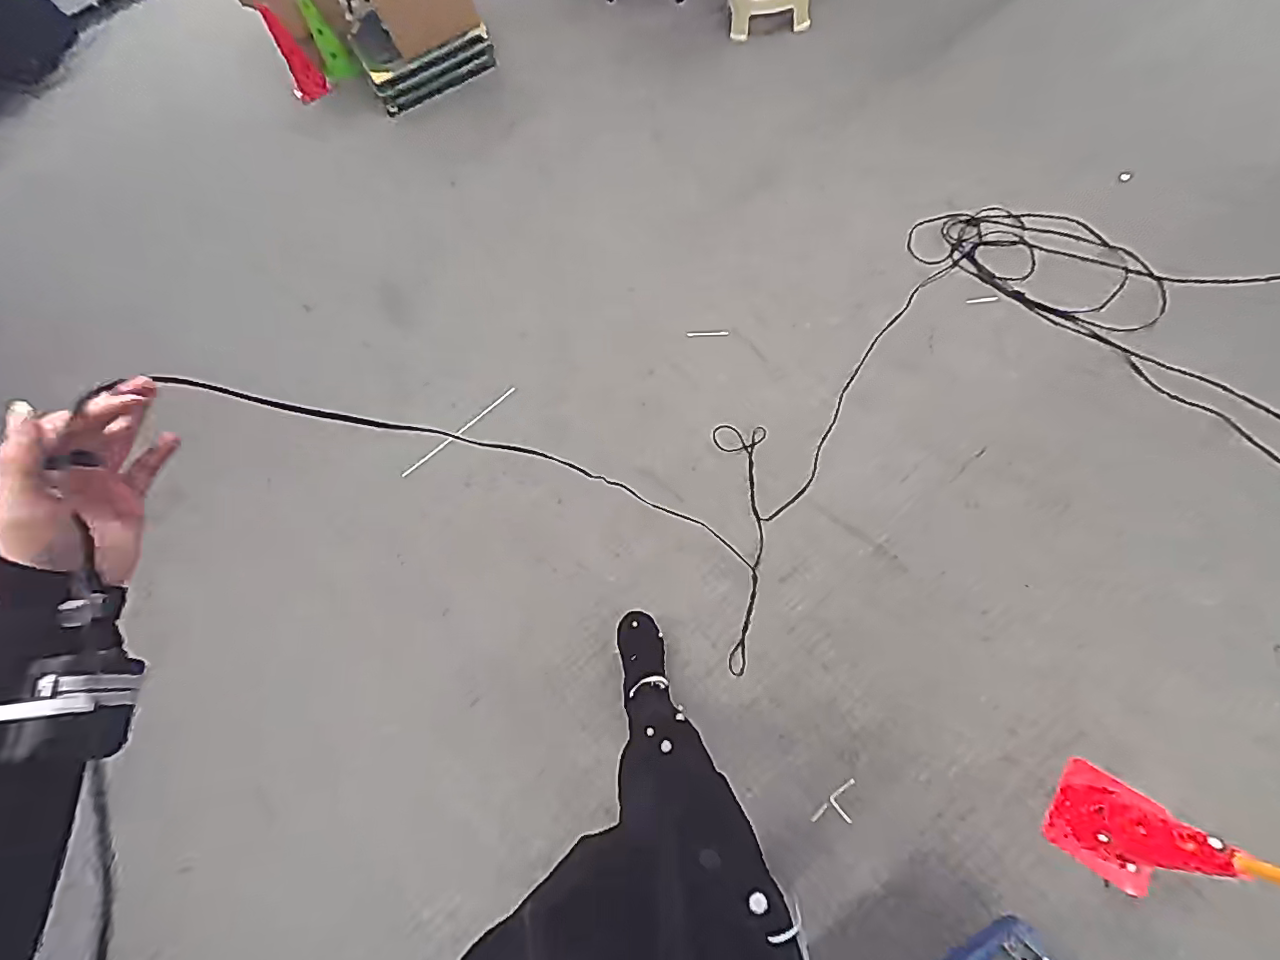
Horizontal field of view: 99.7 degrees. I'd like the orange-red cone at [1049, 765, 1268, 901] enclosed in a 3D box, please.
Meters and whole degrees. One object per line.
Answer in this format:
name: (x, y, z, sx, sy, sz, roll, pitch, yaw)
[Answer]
orange-red cone: (0.991, 0.686, 1.012, 0.198, 0.360, 0.199, 32, 74, 19)
